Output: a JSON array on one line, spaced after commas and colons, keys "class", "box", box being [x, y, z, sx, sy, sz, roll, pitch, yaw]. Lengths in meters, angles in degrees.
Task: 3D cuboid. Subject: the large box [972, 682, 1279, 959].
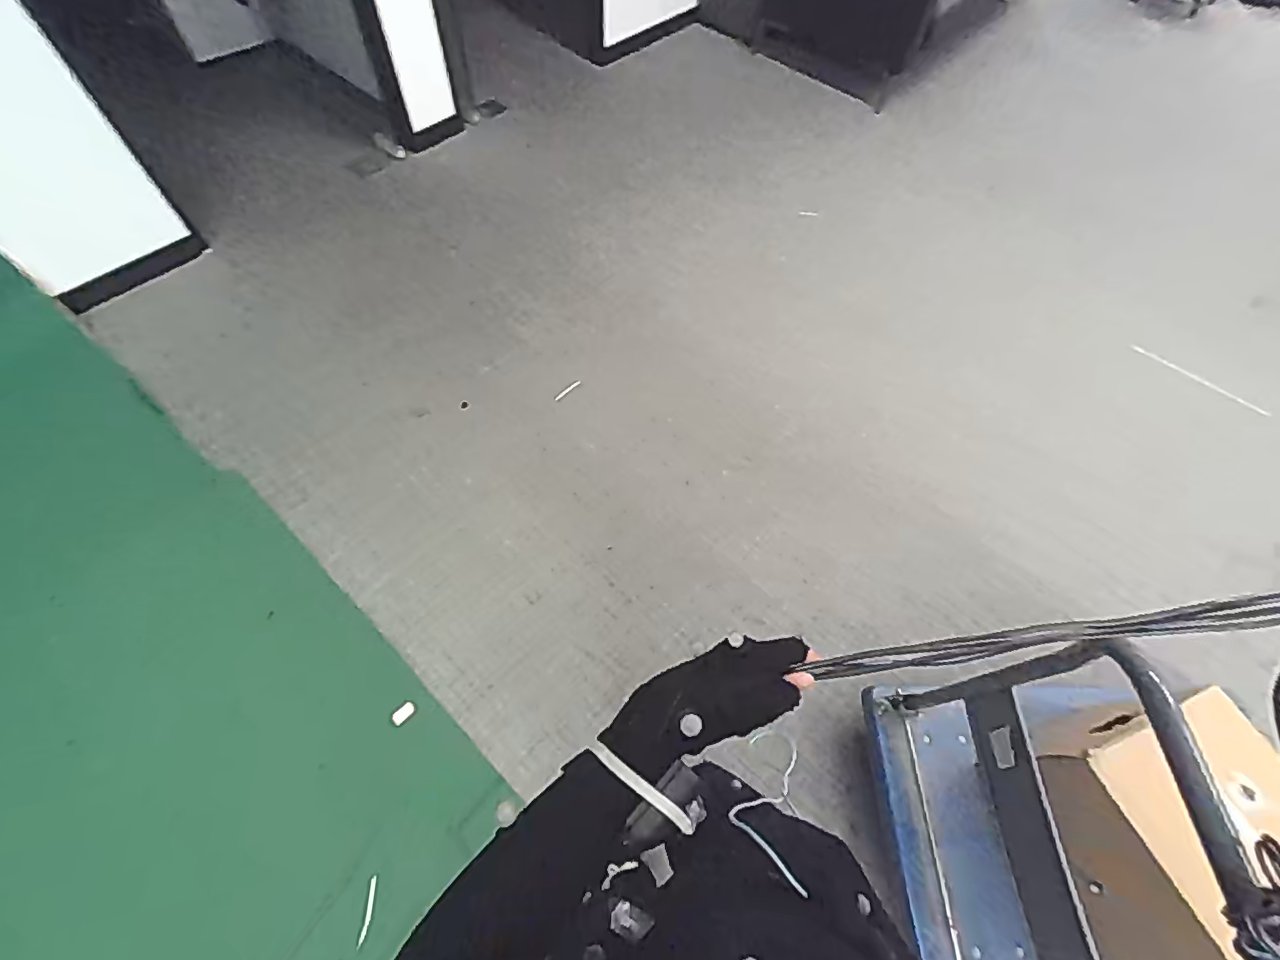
[{"class": "large box", "box": [0.922, 0.639, 0.968, 0.320, 0.320, 0.408, -18, 62, -14]}]
